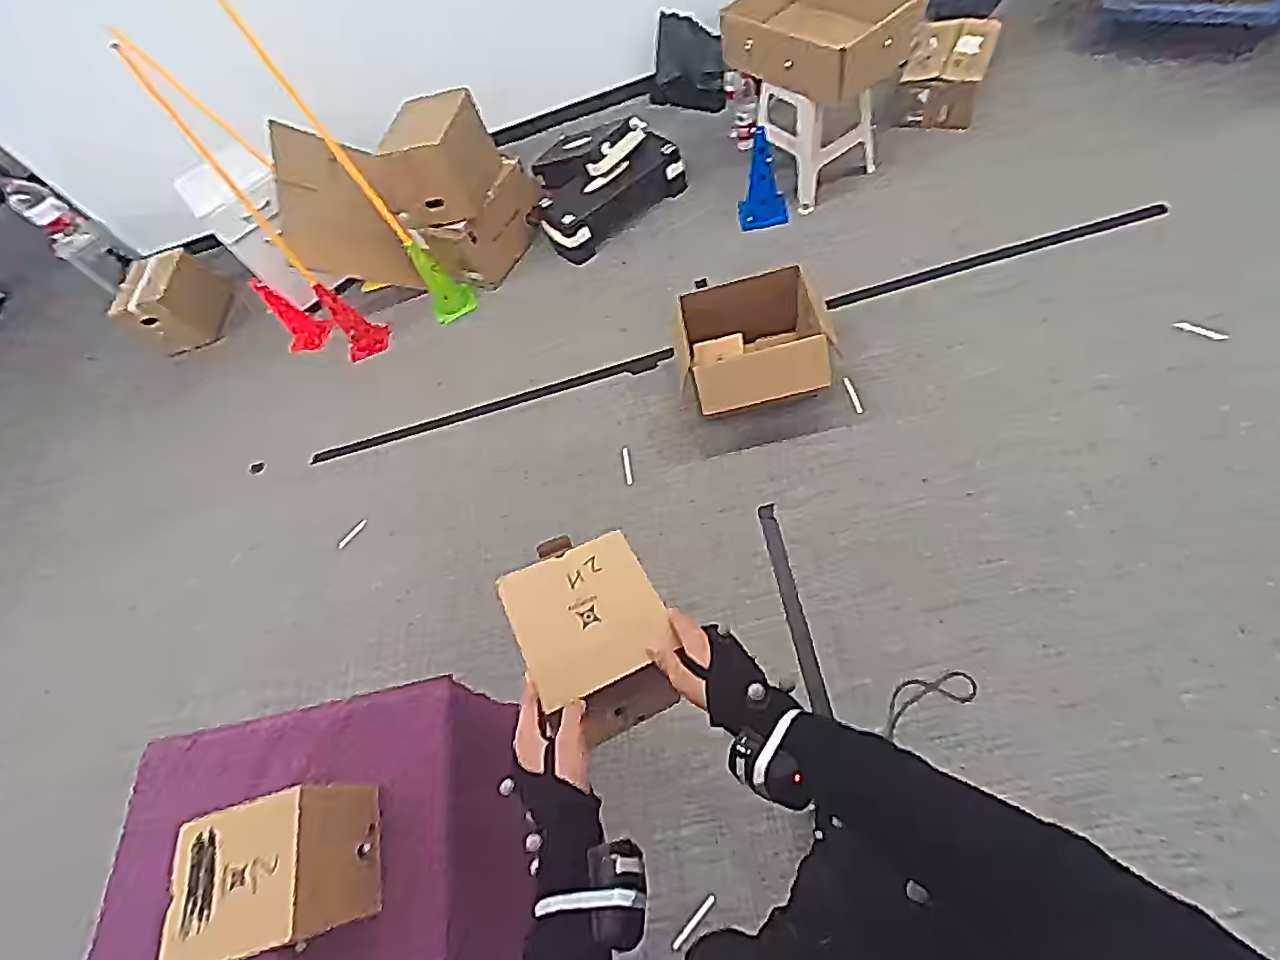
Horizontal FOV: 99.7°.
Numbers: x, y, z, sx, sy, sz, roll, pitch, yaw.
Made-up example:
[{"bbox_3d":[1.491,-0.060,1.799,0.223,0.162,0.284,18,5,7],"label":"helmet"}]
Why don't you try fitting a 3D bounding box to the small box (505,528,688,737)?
[{"bbox_3d":[-0.053,0.199,0.683,0.168,0.176,0.179,-20,50,-17],"label":"small box"}]
